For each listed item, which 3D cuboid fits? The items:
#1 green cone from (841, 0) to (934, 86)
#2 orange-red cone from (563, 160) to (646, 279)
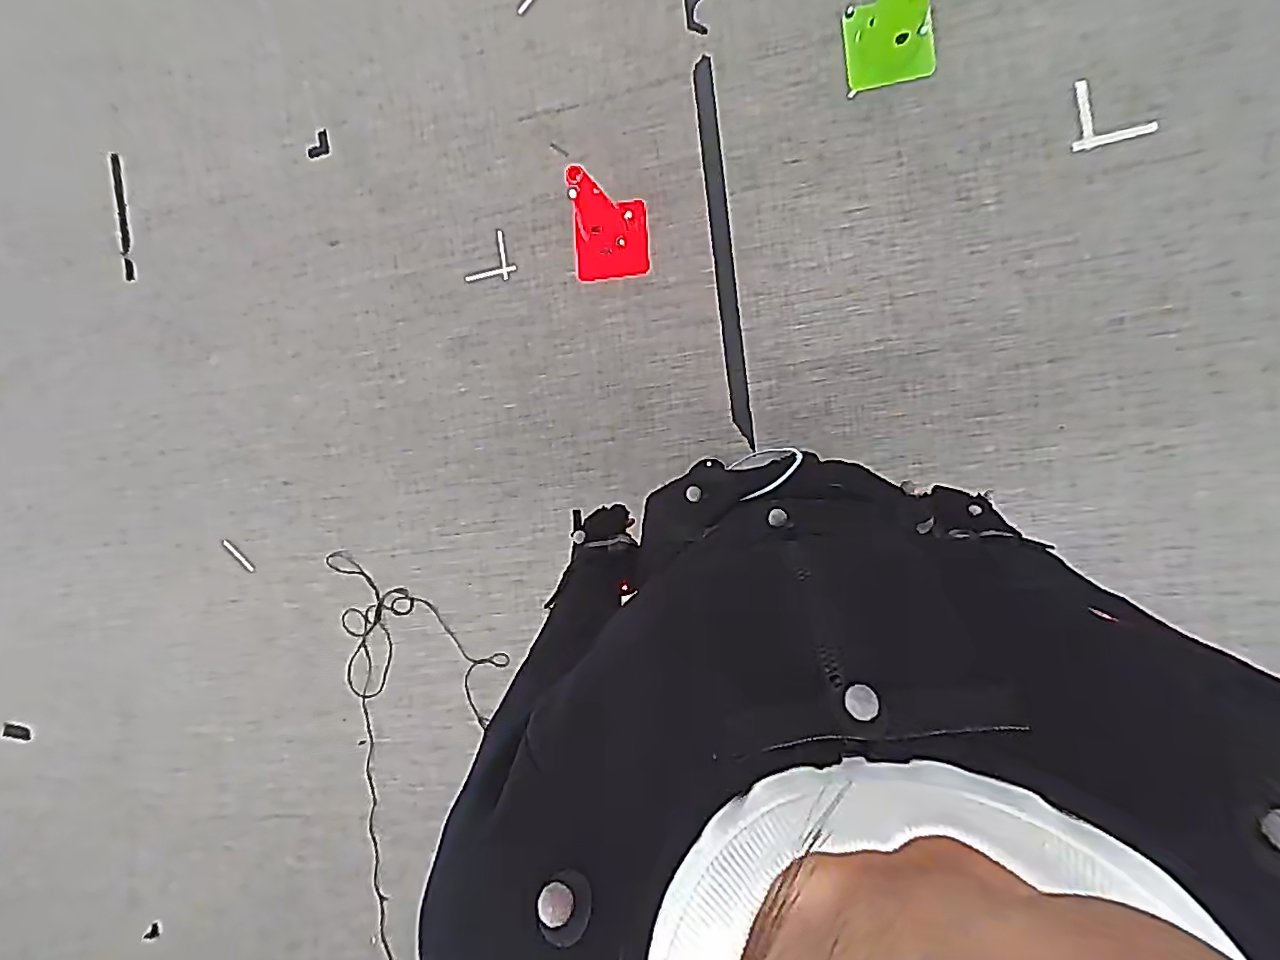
[{"bbox_3d":[0.571,-1.059,1.137,0.202,0.368,0.200,-7,91,9],"label":"green cone"},{"bbox_3d":[-0.112,-0.639,1.277,0.199,0.360,0.198,-2,91,11],"label":"orange-red cone"}]
